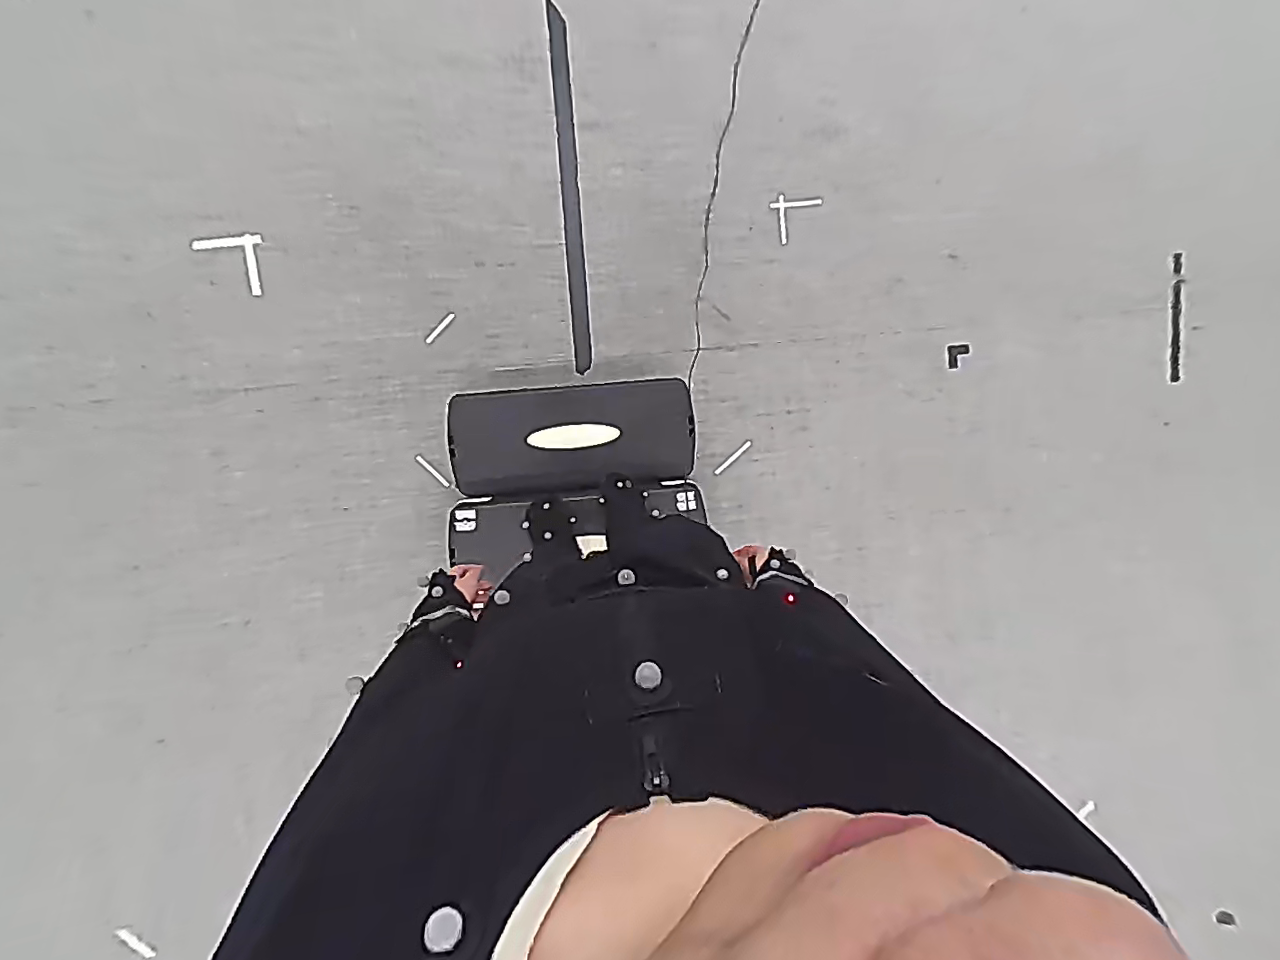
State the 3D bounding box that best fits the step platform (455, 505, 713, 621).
[{"bbox_3d":[-0.144,0.220,1.472,0.684,0.204,0.286,-1,92,-3],"label":"step platform"}]
